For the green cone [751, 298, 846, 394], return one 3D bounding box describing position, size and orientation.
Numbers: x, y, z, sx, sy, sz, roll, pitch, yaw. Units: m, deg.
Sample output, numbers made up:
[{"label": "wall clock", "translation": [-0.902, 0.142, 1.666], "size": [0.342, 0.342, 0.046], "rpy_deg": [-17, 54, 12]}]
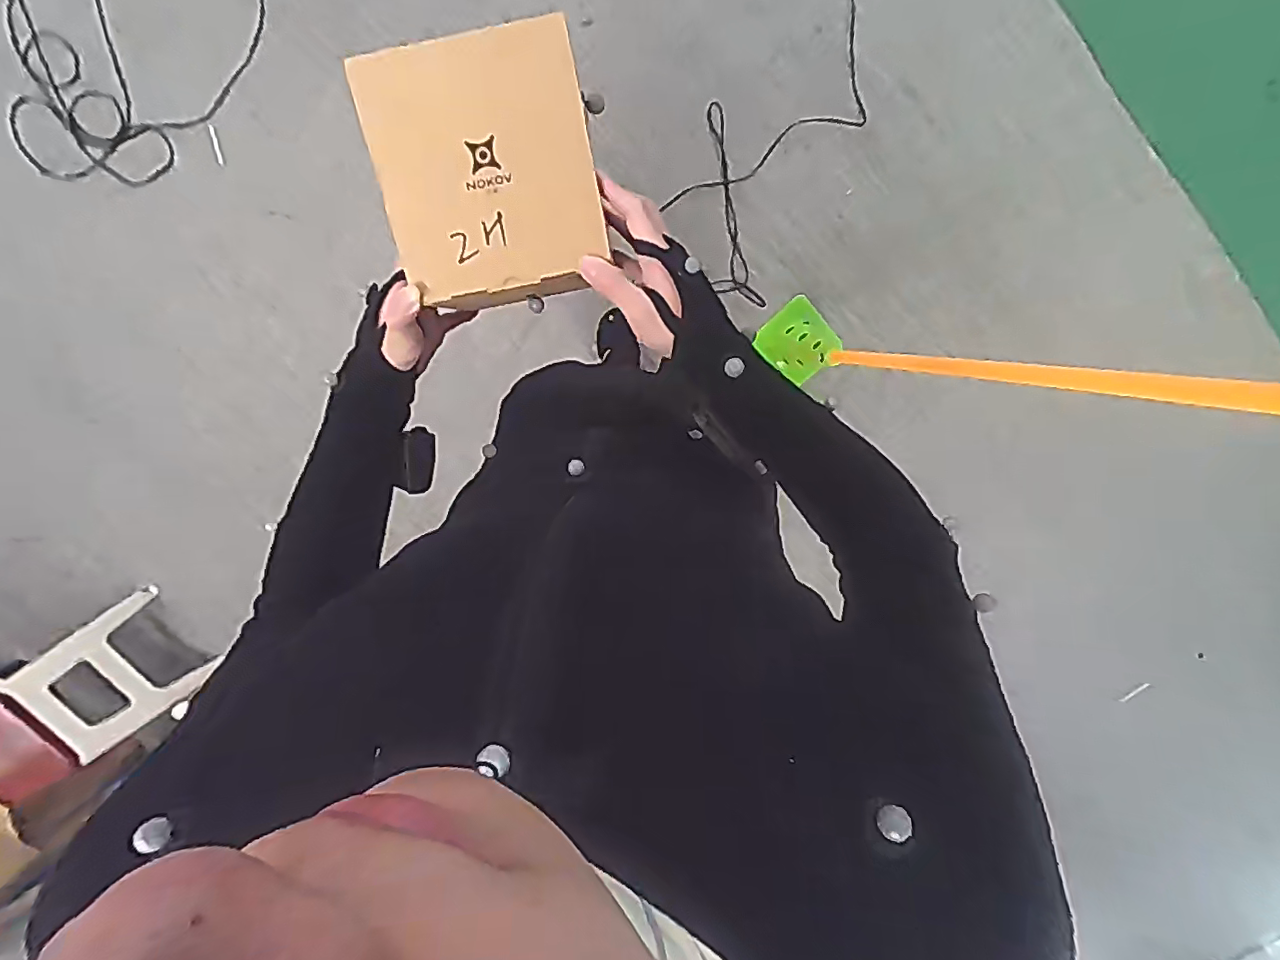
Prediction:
[{"label": "green cone", "translation": [0.431, -0.317, 1.322], "size": [0.200, 0.368, 0.202], "rpy_deg": [-43, 101, 12]}]
